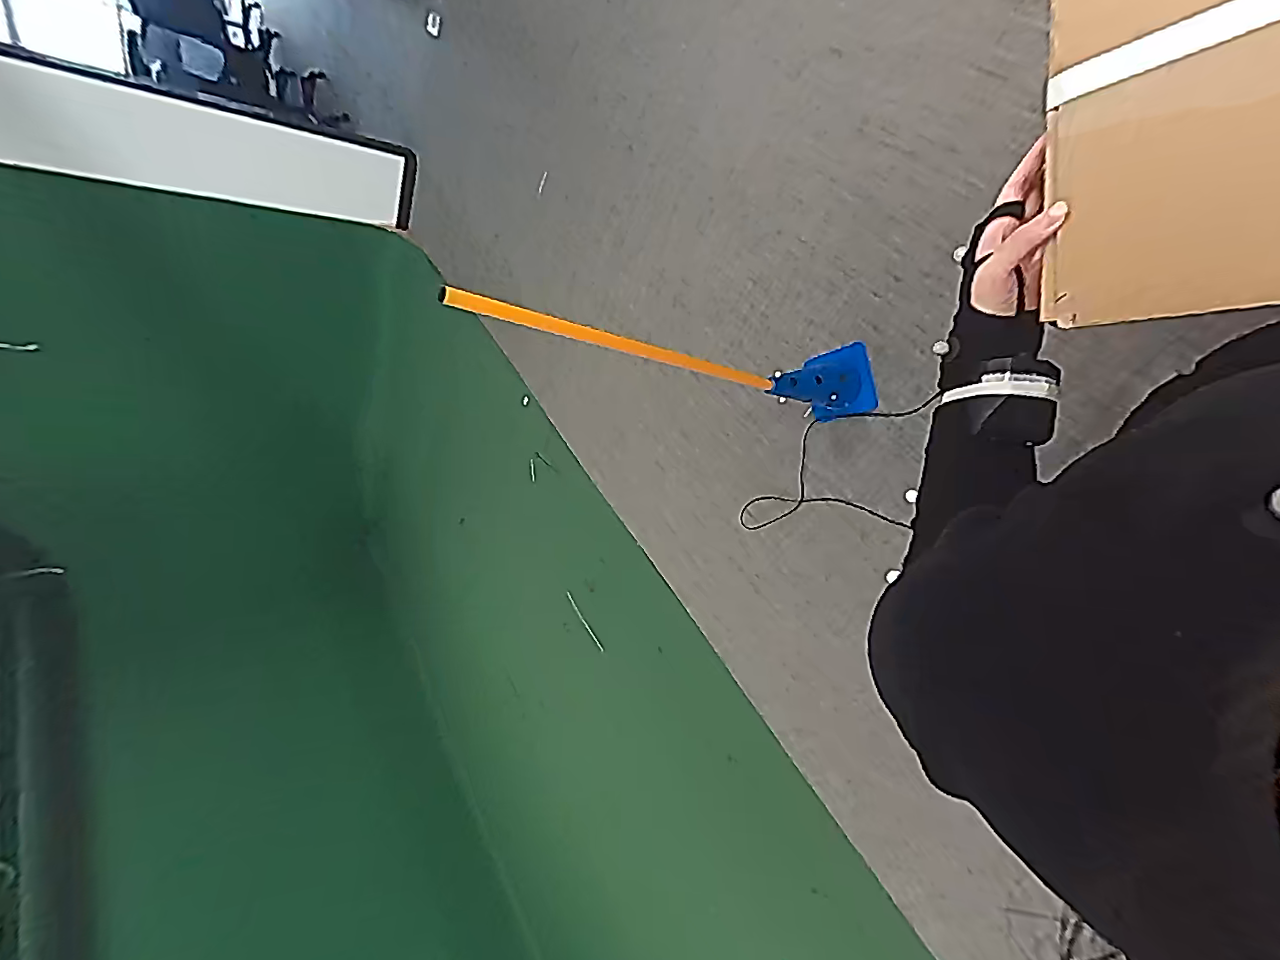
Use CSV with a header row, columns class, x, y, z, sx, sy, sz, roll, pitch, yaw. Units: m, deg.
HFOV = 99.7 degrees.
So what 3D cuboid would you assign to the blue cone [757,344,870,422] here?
class,x,y,z,sx,sy,sz,roll,pitch,yaw
blue cone,0.443,-0.254,1.460,0.193,0.380,0.192,-18,84,49
